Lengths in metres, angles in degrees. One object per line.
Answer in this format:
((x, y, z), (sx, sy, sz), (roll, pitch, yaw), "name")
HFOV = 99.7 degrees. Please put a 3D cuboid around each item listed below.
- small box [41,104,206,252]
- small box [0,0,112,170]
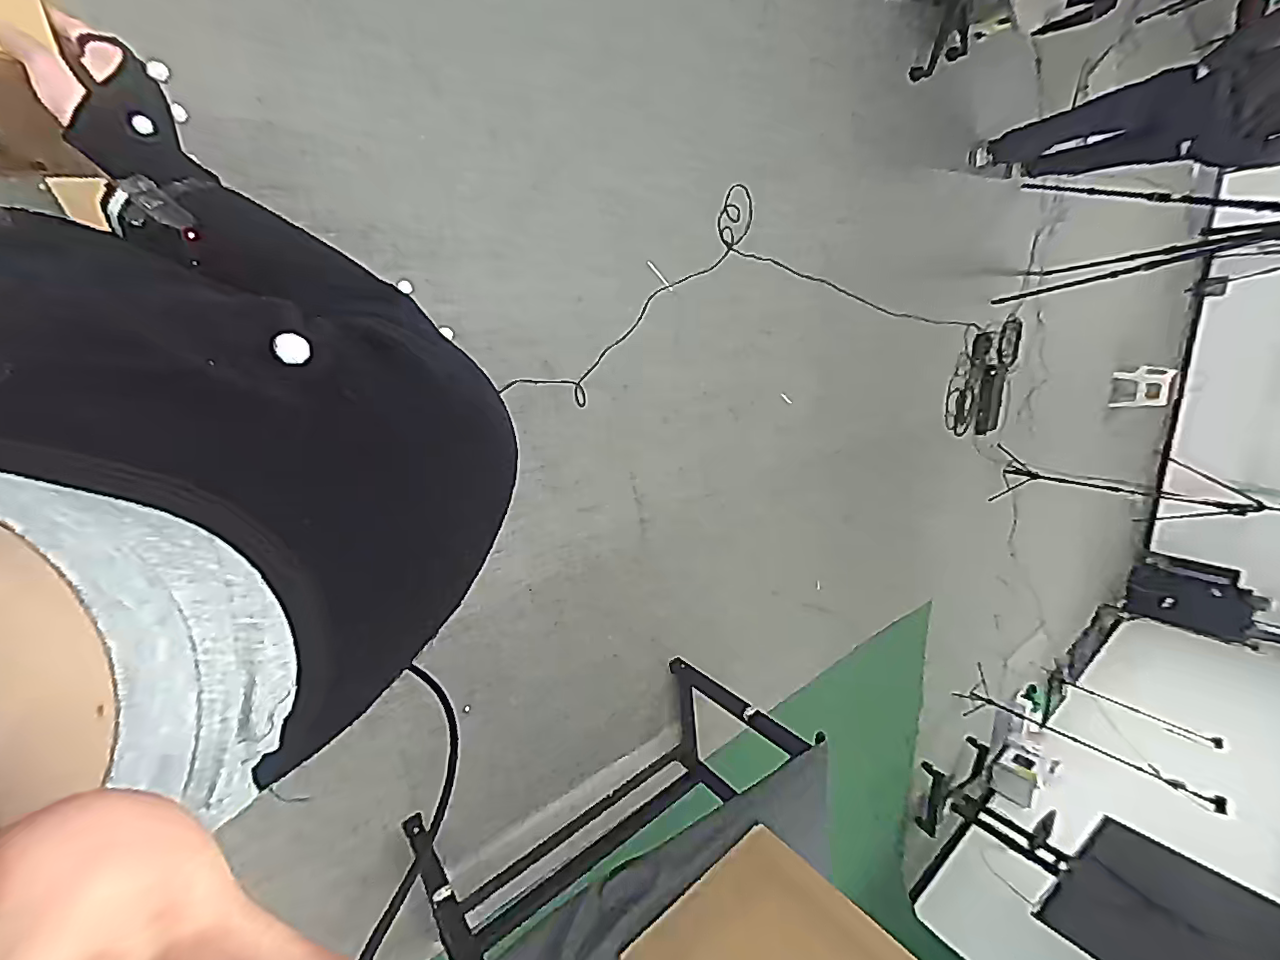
((-0.872, -0.498, 0.906), (0.168, 0.176, 0.179), (-30, 120, -29), "small box")
((-0.591, -0.384, 0.447), (0.168, 0.176, 0.179), (-19, 96, -31), "small box")
